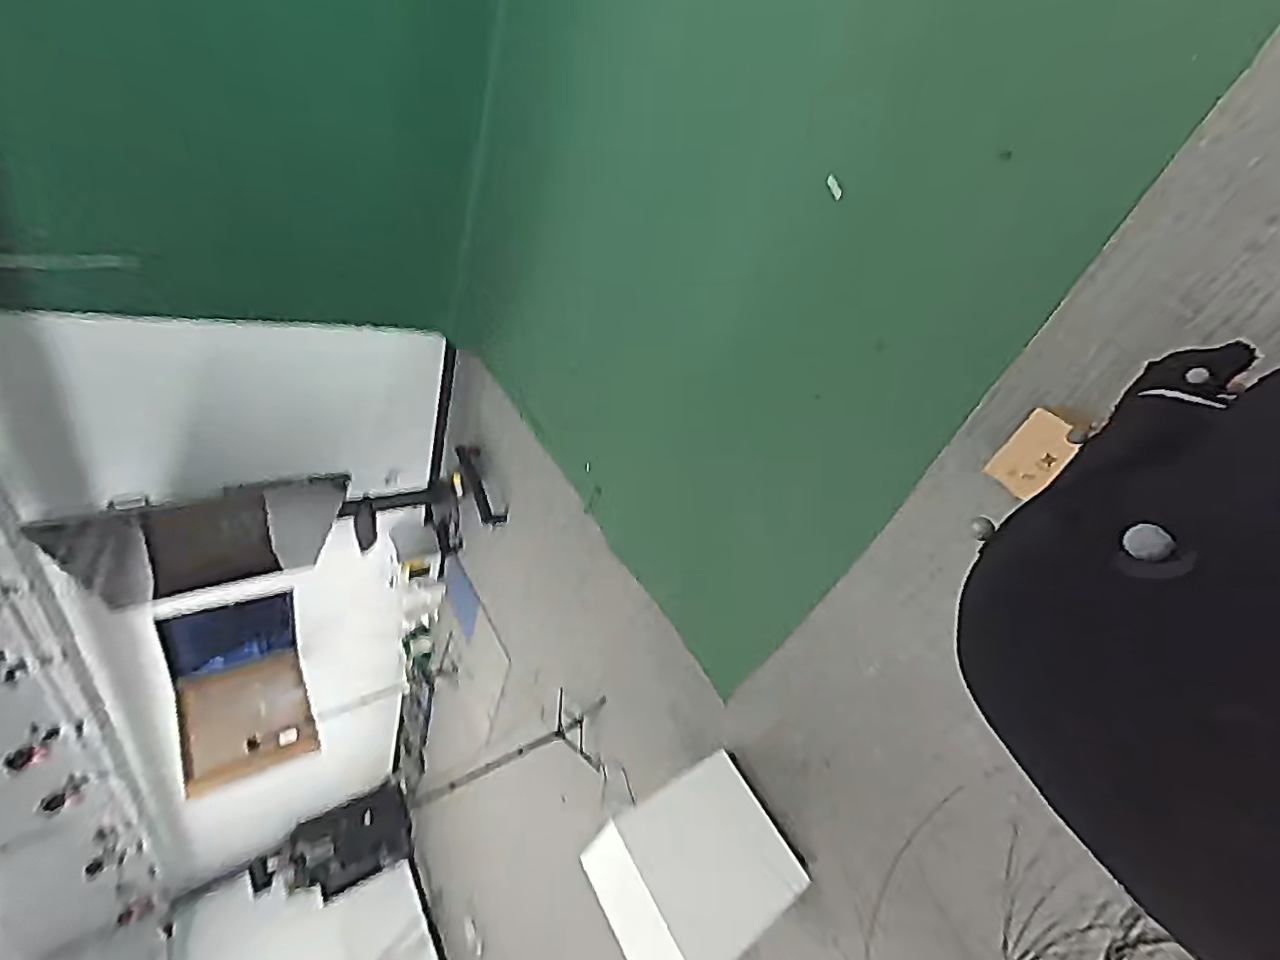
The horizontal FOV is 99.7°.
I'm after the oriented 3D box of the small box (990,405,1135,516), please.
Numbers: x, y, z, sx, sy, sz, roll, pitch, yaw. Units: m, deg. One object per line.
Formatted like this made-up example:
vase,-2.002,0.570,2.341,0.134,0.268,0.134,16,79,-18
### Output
small box,0.912,-0.050,1.165,0.168,0.176,0.179,50,132,34
